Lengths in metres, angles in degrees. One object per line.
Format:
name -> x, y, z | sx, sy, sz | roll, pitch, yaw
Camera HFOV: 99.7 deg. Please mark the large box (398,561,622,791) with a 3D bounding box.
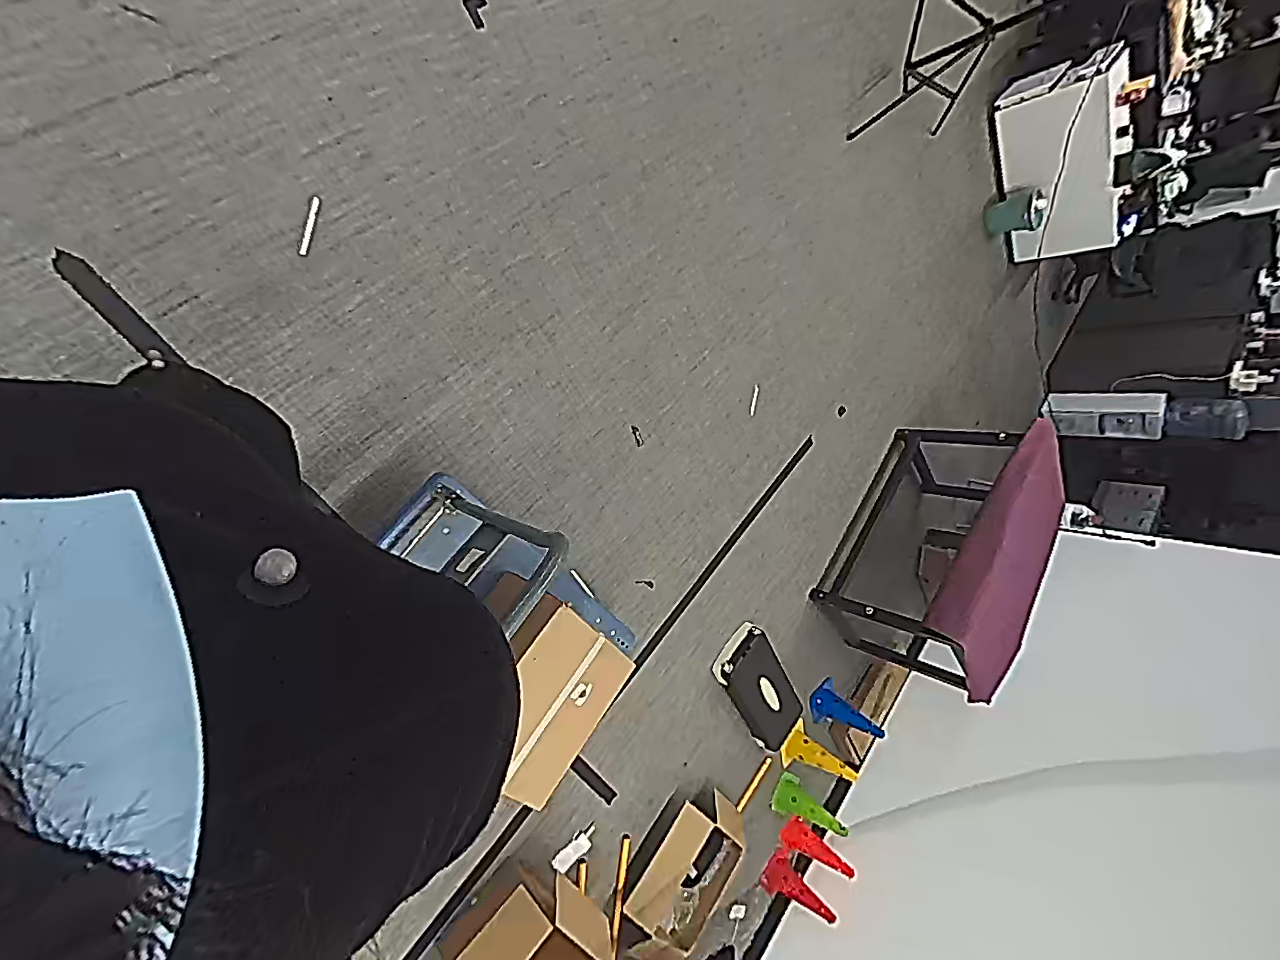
large box -> -0.329, 0.480, 1.382 | 0.408, 0.320, 0.320 | -54, 126, -21
